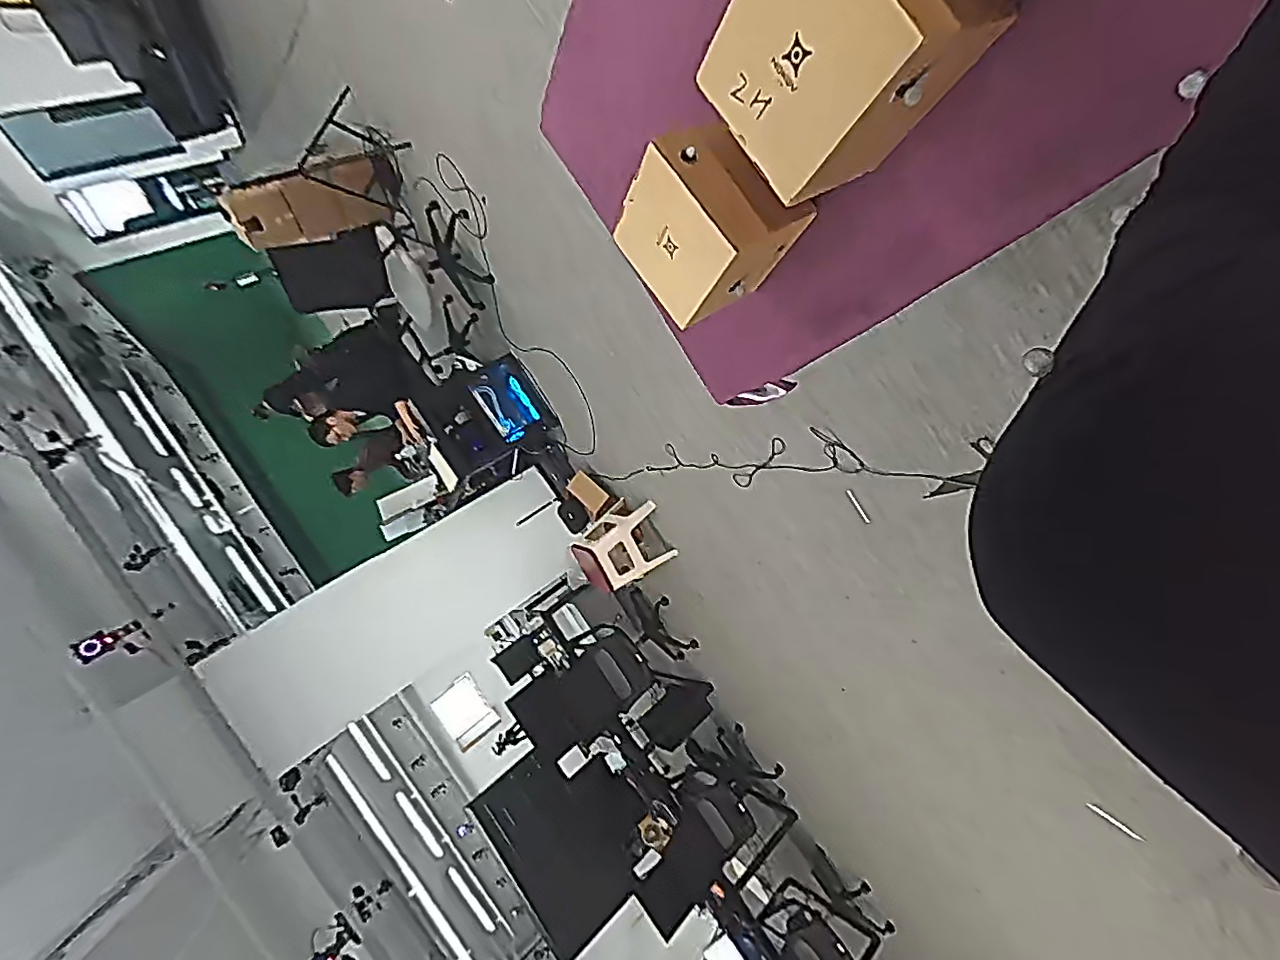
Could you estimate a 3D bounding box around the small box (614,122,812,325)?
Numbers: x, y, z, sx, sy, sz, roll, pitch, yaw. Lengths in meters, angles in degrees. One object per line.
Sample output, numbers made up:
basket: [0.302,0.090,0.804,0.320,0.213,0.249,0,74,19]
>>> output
small box: [0.097,-0.355,0.742,0.179,0.176,0.168,54,154,5]

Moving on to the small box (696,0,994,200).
small box: [0.191,-0.413,0.510,0.168,0.176,0.179,56,154,2]
